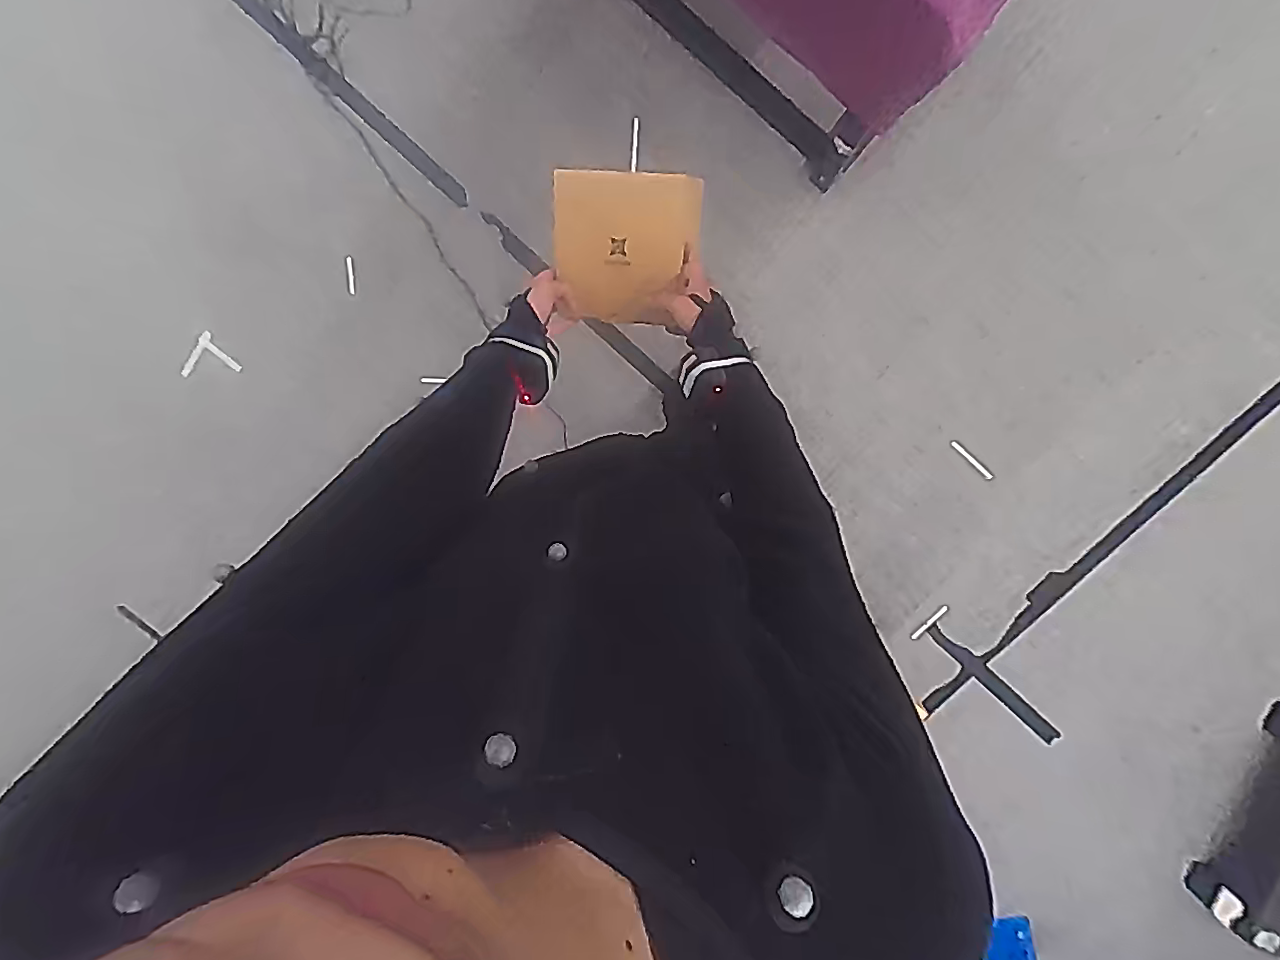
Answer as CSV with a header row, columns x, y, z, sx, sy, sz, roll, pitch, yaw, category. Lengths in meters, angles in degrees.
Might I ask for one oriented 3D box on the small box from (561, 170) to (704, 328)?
x,y,z,sx,sy,sz,roll,pitch,yaw,category
-0.006,-0.322,0.749,0.168,0.176,0.179,8,119,10,small box
